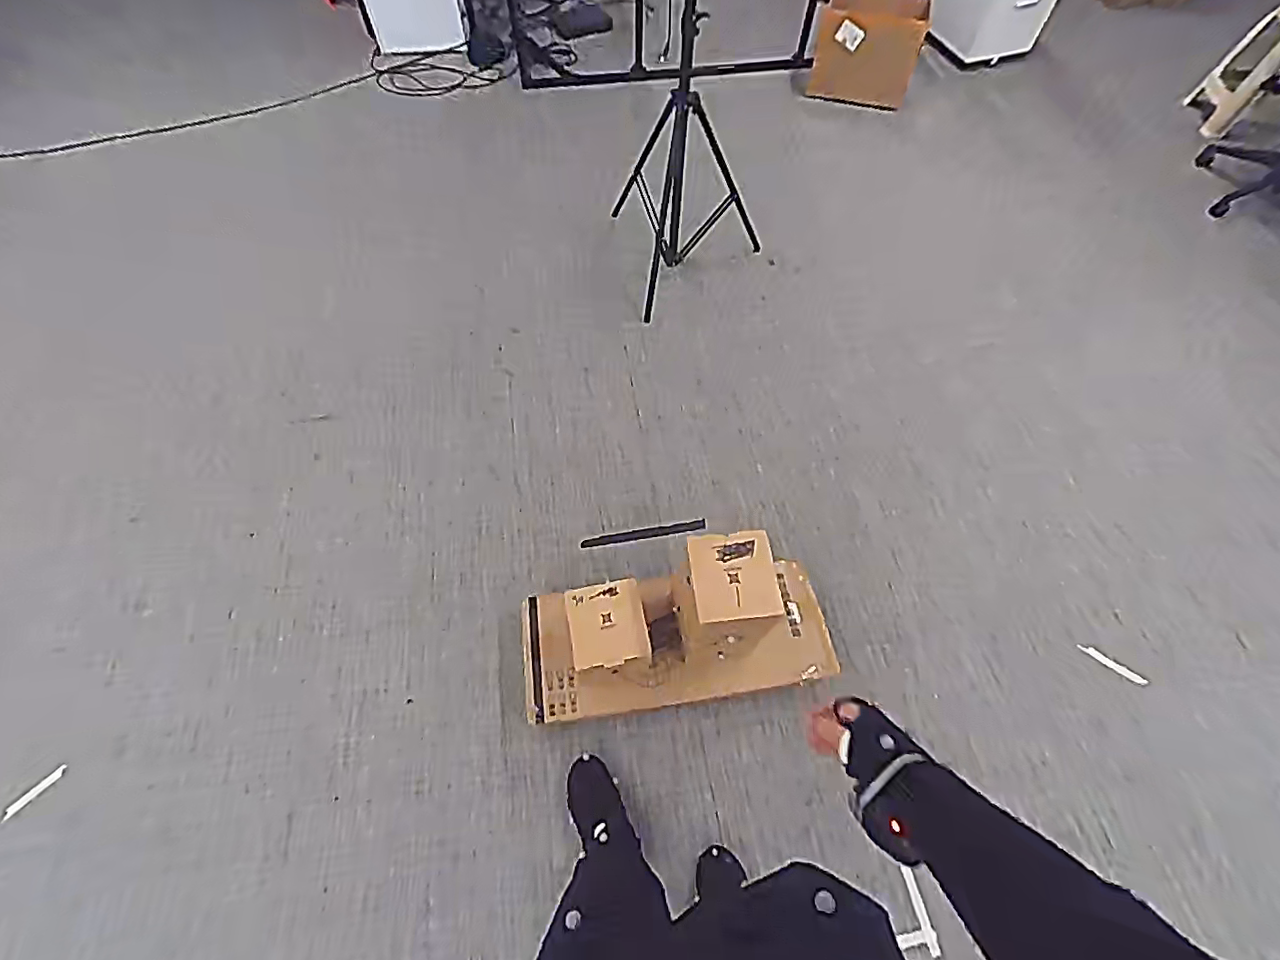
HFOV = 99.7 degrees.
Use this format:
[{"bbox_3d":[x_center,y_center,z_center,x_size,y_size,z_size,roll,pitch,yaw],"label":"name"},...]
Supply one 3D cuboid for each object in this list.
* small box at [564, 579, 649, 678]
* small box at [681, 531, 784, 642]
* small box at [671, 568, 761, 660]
[{"bbox_3d":[-0.073,0.345,1.233,0.168,0.176,0.179,-10,62,-6],"label":"small box"},{"bbox_3d":[0.180,0.222,1.117,0.168,0.176,0.179,-5,61,-3],"label":"small box"},{"bbox_3d":[0.170,0.305,1.259,0.168,0.176,0.179,-8,61,-5],"label":"small box"}]
